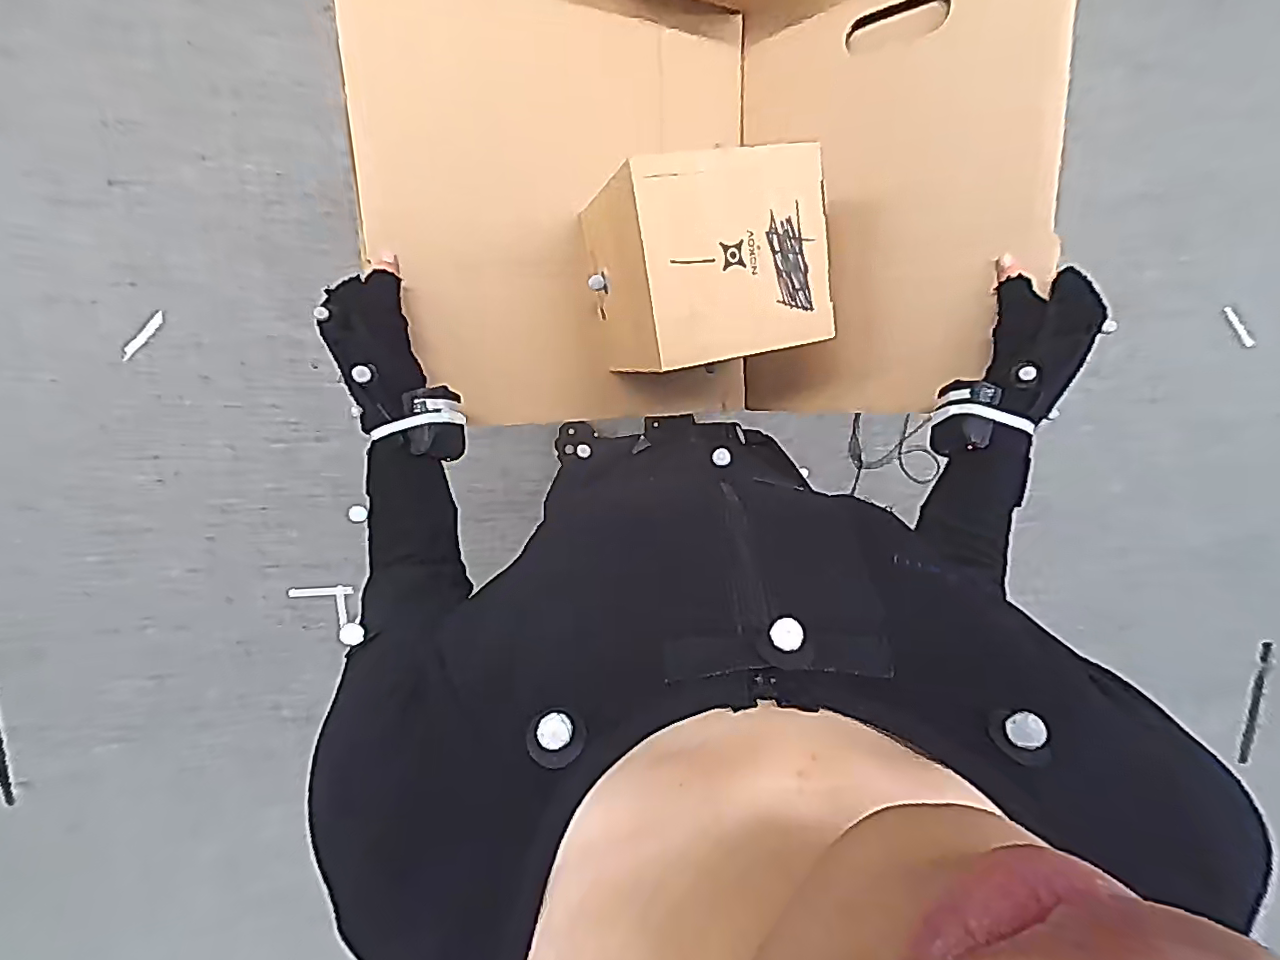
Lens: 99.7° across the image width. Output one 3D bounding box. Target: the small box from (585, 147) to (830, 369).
[{"bbox_3d":[0.060,-0.207,0.537,0.179,0.176,0.168,-14,105,-16],"label":"small box"}]
